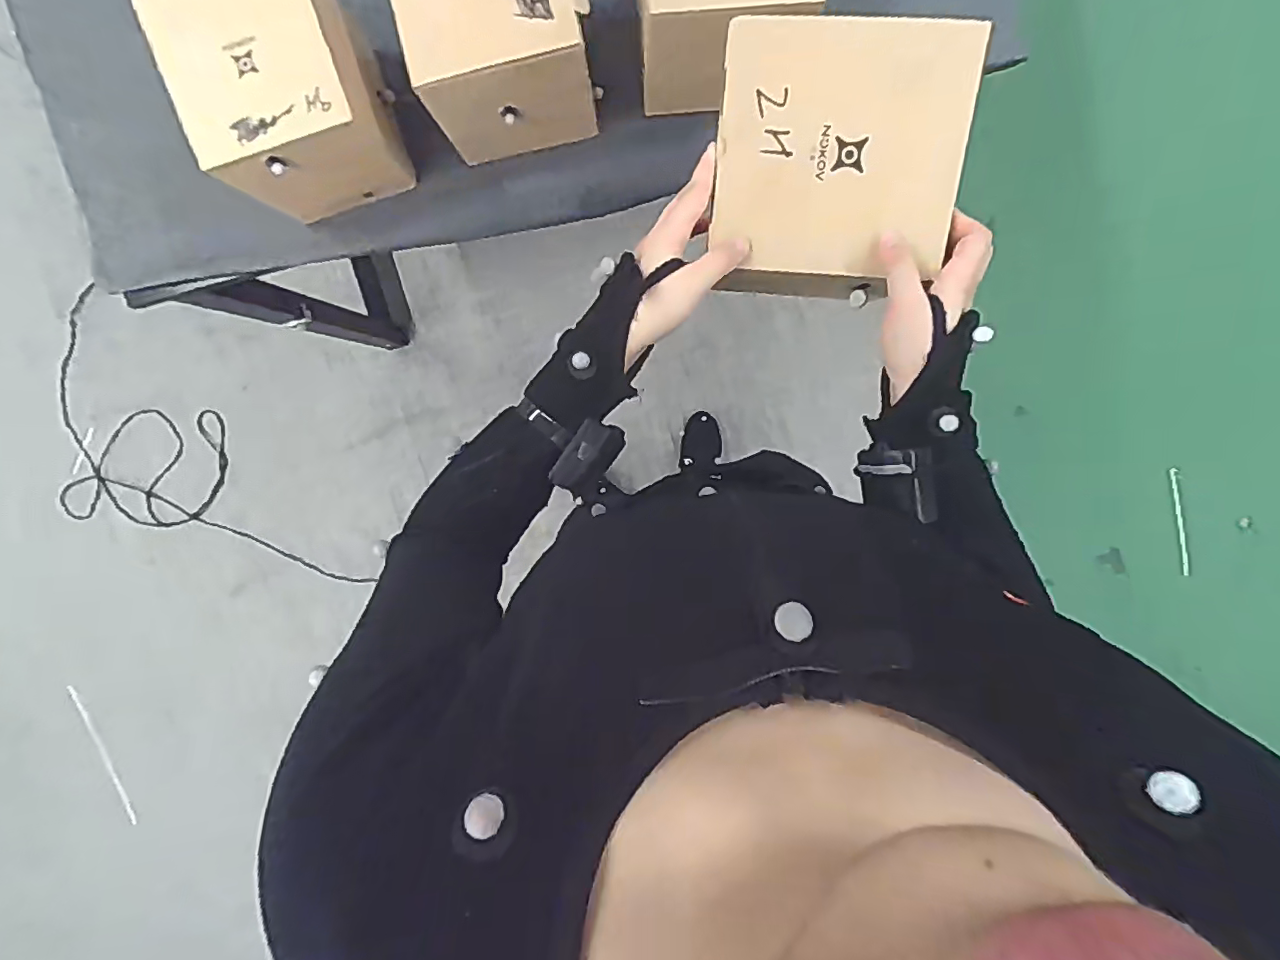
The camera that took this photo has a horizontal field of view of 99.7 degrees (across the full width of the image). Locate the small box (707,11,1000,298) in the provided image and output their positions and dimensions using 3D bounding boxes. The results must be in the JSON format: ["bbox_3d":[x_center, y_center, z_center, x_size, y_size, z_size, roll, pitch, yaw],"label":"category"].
[{"bbox_3d":[0.154,-0.252,0.459,0.179,0.176,0.168,7,105,7],"label":"small box"}]

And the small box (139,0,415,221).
[{"bbox_3d":[-0.386,-0.426,0.608,0.168,0.176,0.179,-16,97,3],"label":"small box"}]
